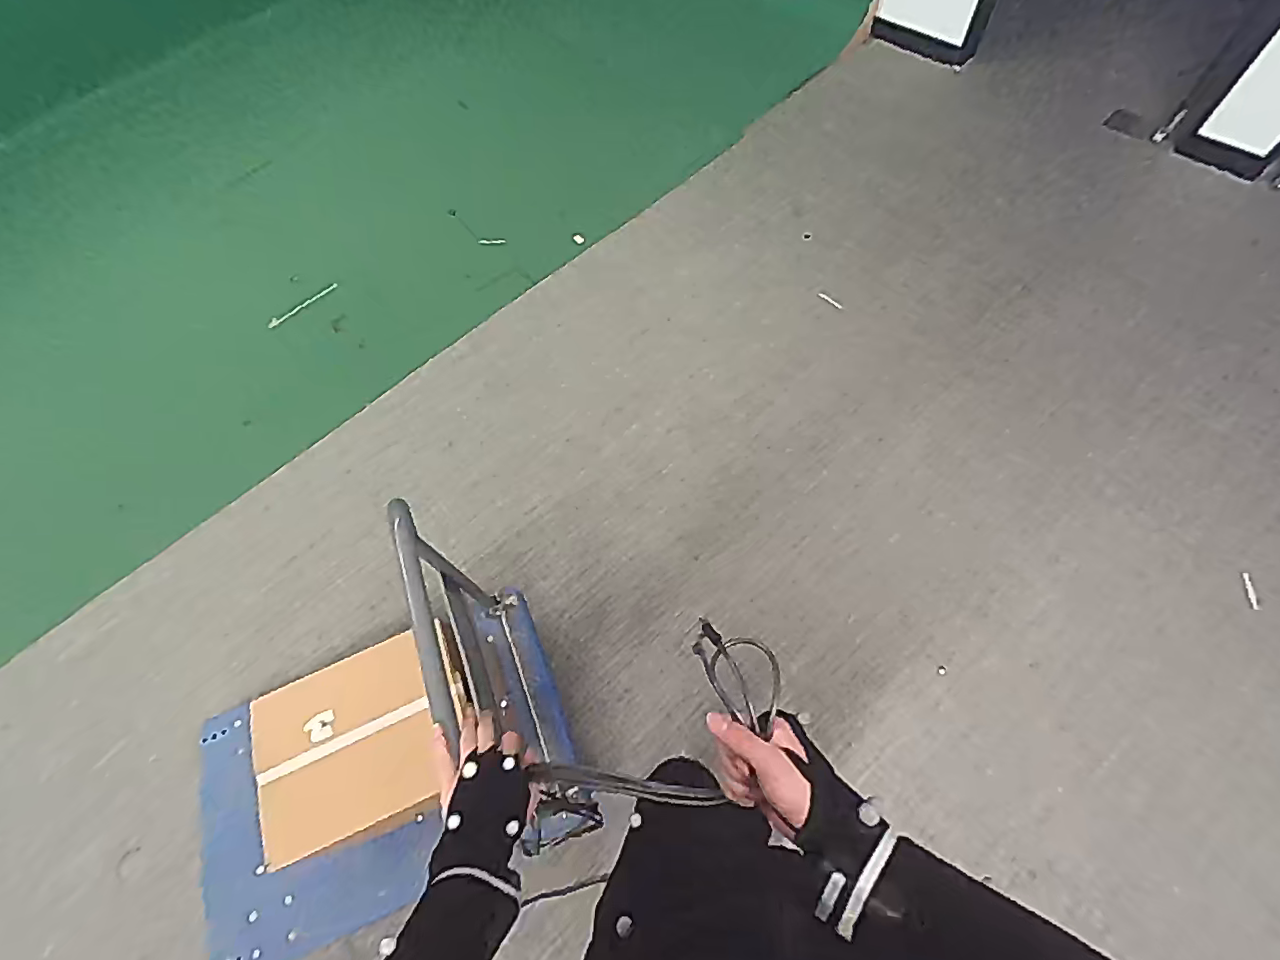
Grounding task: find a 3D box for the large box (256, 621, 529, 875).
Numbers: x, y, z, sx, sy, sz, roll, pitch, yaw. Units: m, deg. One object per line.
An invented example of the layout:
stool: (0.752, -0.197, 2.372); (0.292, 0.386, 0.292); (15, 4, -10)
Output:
large box: (-0.510, 0.552, 1.164); (0.408, 0.320, 0.320); (-24, 64, -4)
